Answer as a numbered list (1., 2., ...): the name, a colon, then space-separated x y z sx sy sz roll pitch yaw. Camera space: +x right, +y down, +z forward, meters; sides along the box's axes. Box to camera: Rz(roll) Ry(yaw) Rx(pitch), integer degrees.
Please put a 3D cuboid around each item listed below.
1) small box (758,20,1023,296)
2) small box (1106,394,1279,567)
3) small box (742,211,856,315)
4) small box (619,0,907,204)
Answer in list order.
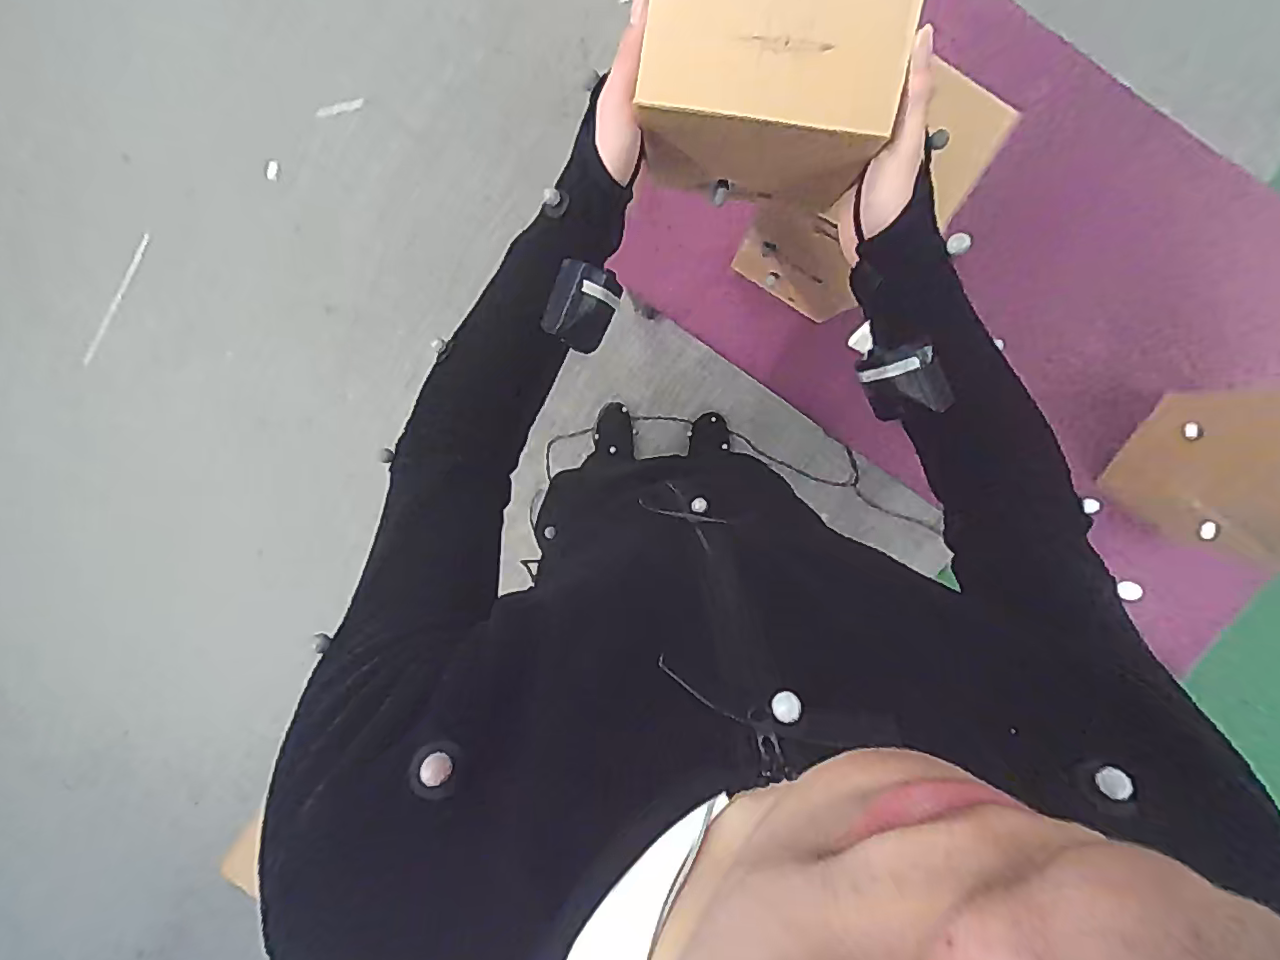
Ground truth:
1. small box: 0.245 -0.326 0.584 0.168 0.176 0.179 33 98 -2
2. small box: 0.829 -0.008 0.760 0.168 0.176 0.179 34 98 -1
3. small box: 0.255 -0.352 0.747 0.168 0.176 0.179 32 99 -1
4. small box: 0.087 -0.328 0.396 0.168 0.176 0.179 10 103 4
